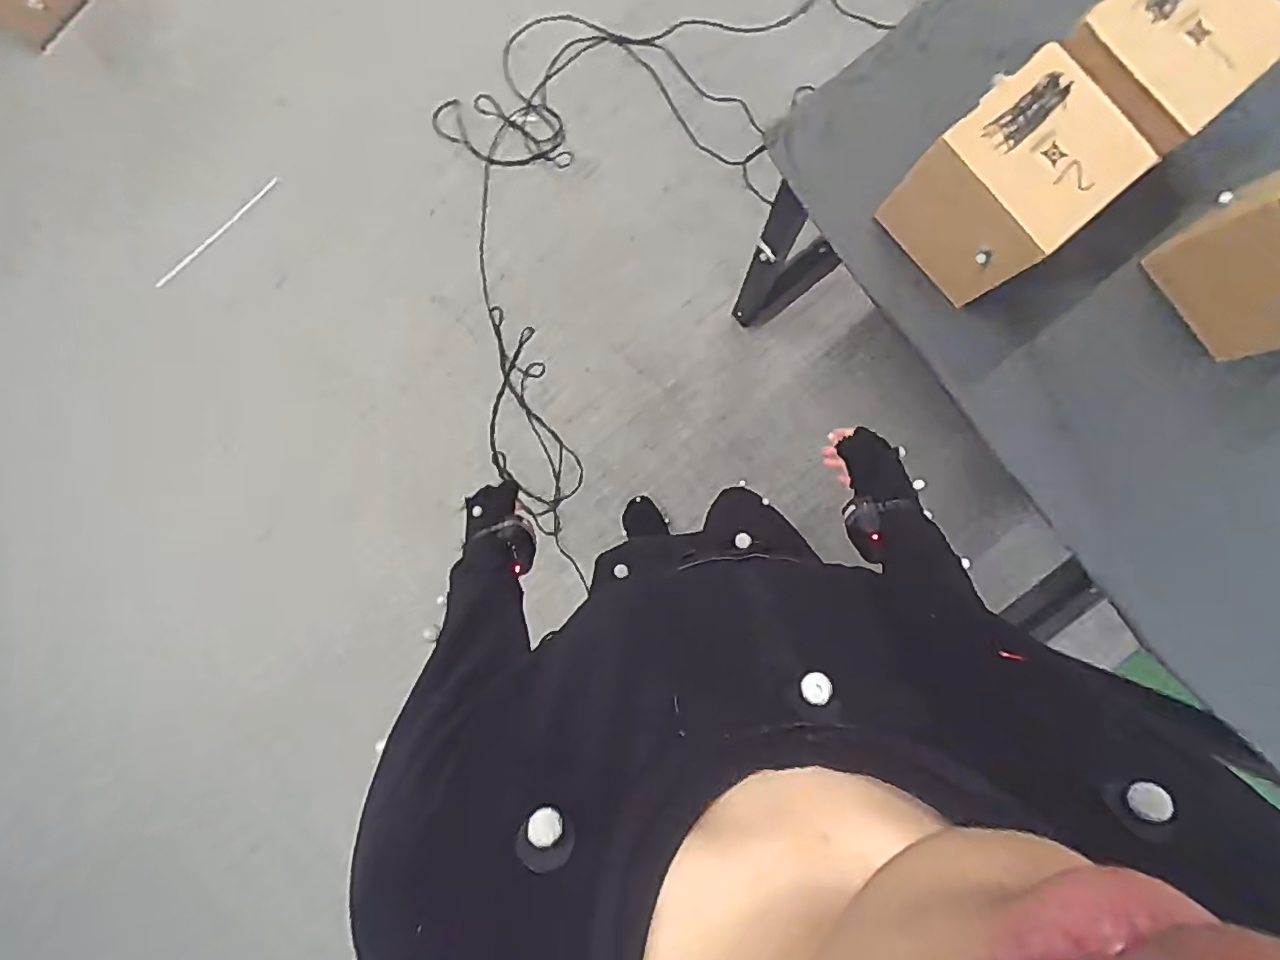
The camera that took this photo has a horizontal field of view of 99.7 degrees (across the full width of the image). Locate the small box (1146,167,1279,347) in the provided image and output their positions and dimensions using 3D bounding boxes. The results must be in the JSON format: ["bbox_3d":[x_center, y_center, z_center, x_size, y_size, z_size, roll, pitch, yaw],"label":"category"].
[{"bbox_3d":[0.789,-0.279,0.646,0.168,0.176,0.179,-36,88,1],"label":"small box"}]
